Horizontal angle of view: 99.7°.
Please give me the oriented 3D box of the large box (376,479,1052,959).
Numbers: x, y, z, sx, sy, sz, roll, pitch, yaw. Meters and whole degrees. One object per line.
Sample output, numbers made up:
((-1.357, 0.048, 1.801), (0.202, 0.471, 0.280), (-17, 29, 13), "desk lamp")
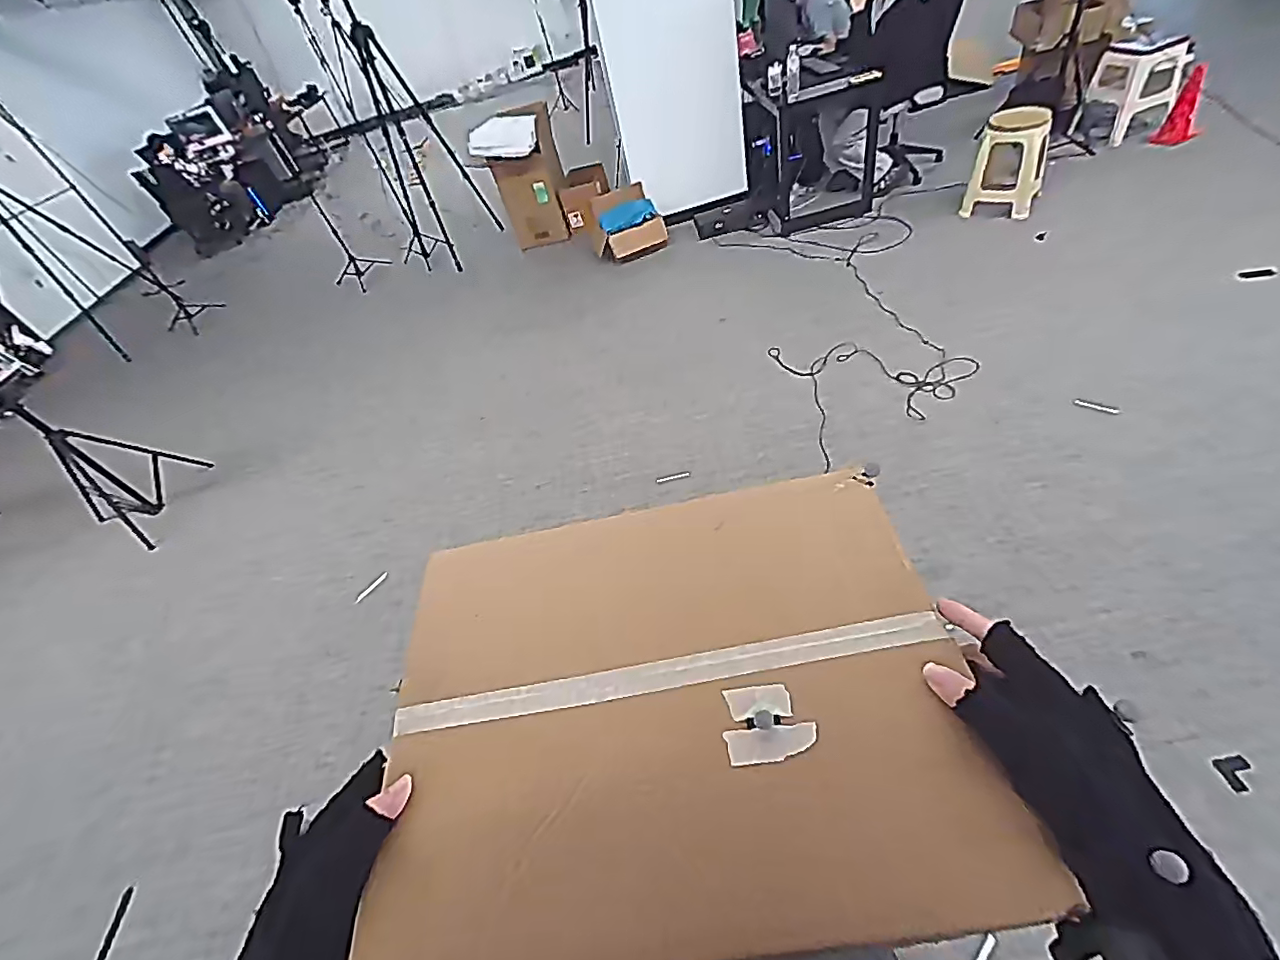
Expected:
((0.046, 0.247, 0.515), (0.408, 0.320, 0.320), (-11, 48, 4), "large box")
